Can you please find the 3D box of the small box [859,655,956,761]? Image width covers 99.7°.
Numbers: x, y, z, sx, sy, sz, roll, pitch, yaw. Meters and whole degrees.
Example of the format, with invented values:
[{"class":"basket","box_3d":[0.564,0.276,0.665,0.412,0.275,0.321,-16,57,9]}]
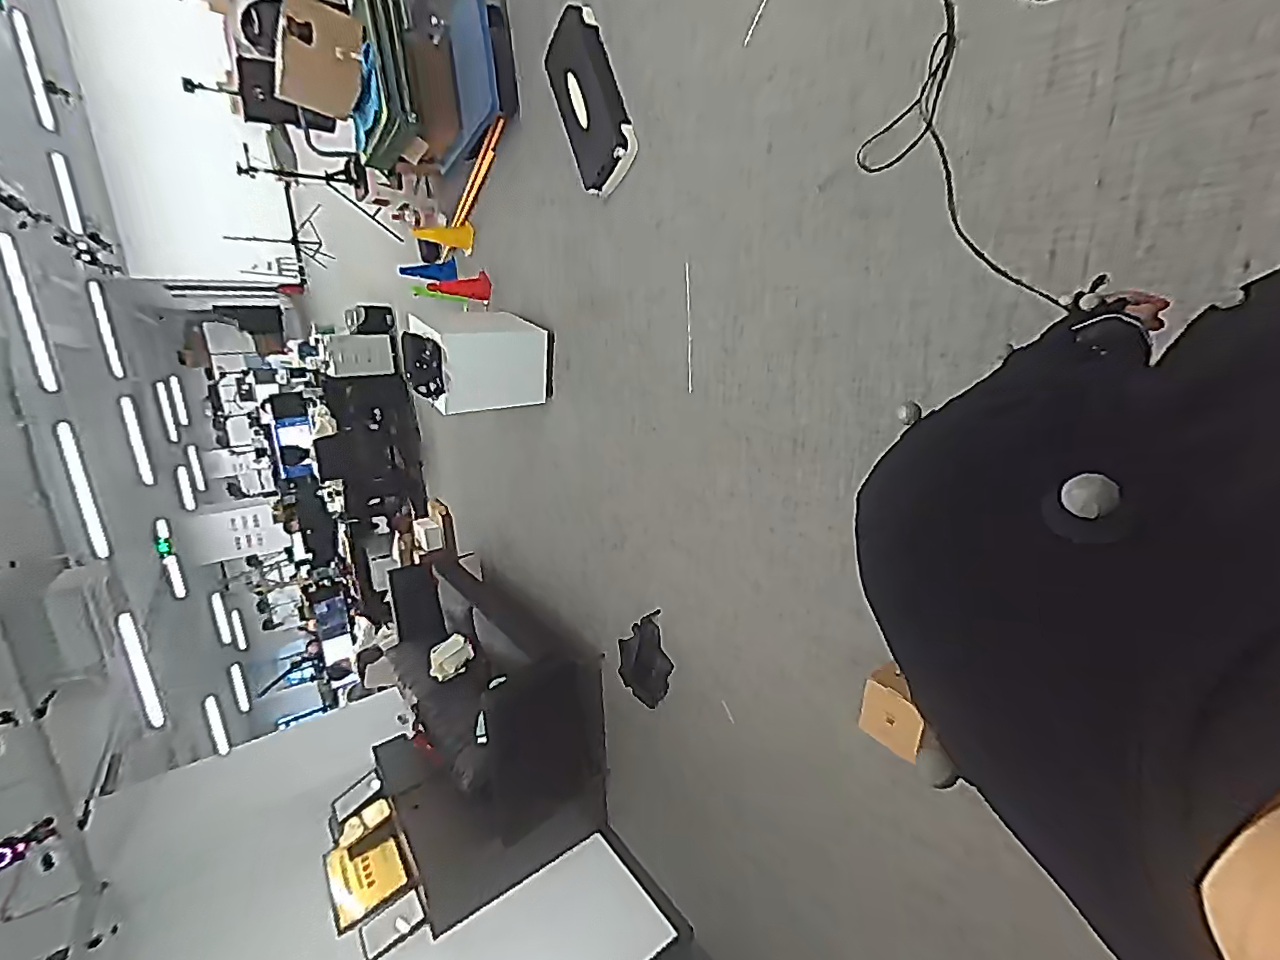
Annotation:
[{"class":"small box","box_3d":[0.733,0.612,1.480,0.168,0.176,0.179,25,121,50]}]
